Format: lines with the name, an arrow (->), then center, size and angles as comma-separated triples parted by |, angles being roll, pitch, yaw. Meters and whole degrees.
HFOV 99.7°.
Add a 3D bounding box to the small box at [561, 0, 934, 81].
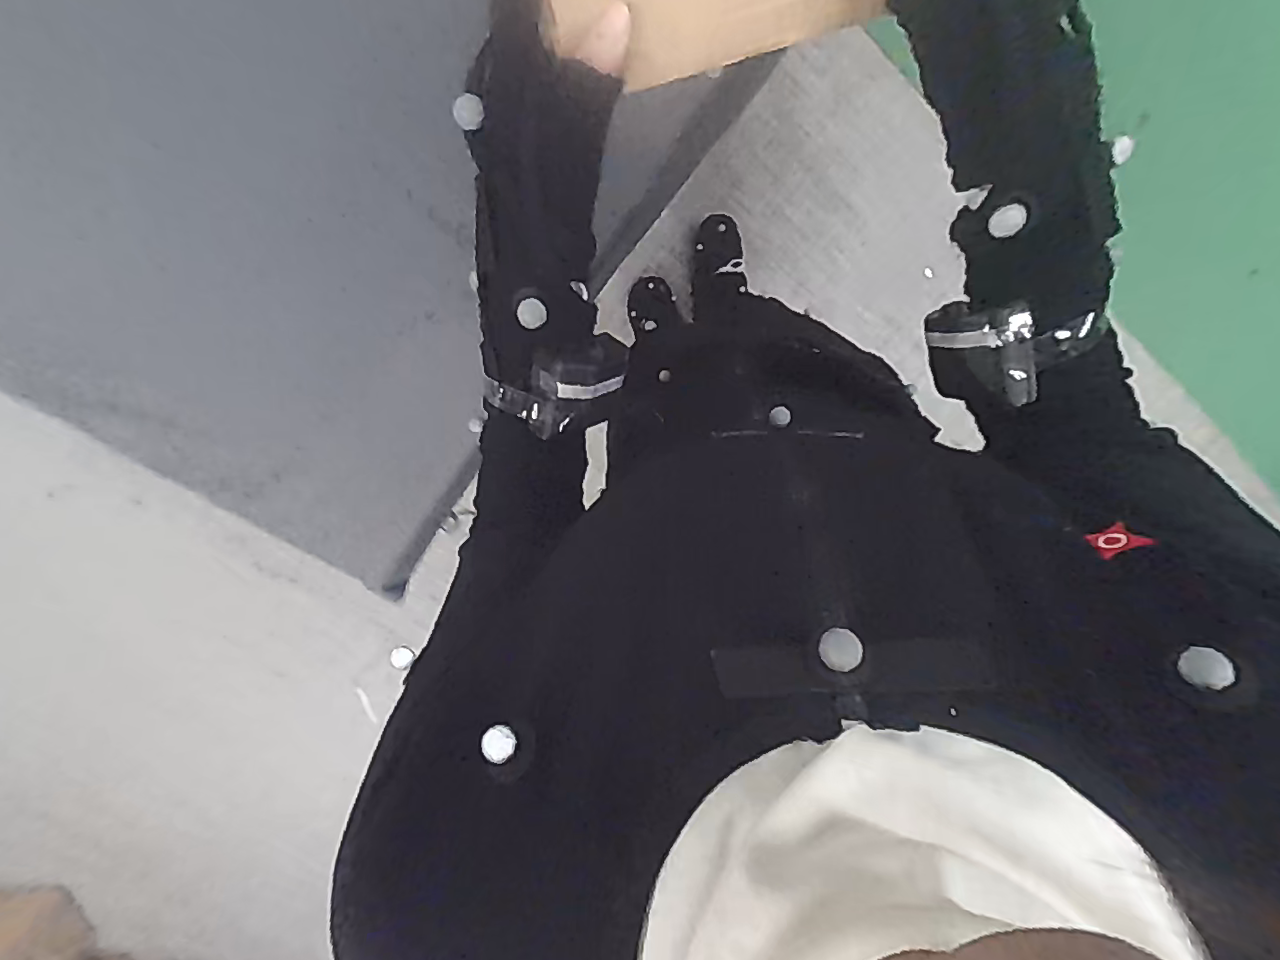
small box -> 0.037, -0.314, 0.243 | 0.179, 0.176, 0.168 | -11, 139, 6
